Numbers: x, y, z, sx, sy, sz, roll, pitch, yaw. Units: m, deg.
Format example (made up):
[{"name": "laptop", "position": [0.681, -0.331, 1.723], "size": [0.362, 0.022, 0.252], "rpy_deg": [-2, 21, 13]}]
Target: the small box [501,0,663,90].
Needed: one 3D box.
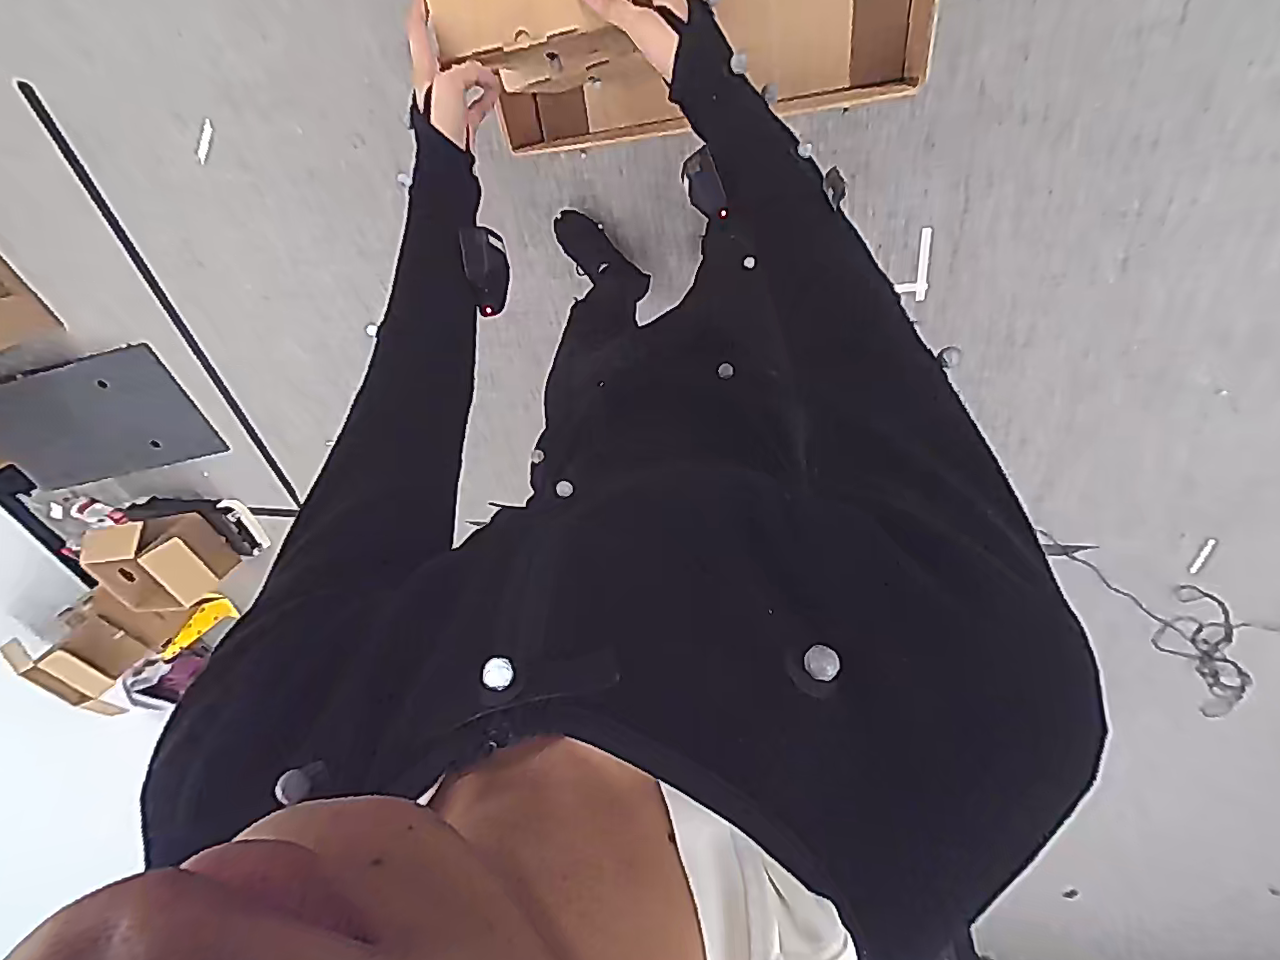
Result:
[{"name": "small box", "position": [-0.079, -0.584, 0.638], "size": [0.168, 0.176, 0.179], "rpy_deg": [-3, 125, 18]}]

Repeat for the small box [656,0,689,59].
[{"name": "small box", "position": [-0.033, -0.686, 0.759], "size": [0.179, 0.176, 0.168], "rpy_deg": [-4, 125, 20]}]

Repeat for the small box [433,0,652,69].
[{"name": "small box", "position": [-0.092, -0.501, 0.495], "size": [0.168, 0.176, 0.179], "rpy_deg": [-1, 126, 16]}]
